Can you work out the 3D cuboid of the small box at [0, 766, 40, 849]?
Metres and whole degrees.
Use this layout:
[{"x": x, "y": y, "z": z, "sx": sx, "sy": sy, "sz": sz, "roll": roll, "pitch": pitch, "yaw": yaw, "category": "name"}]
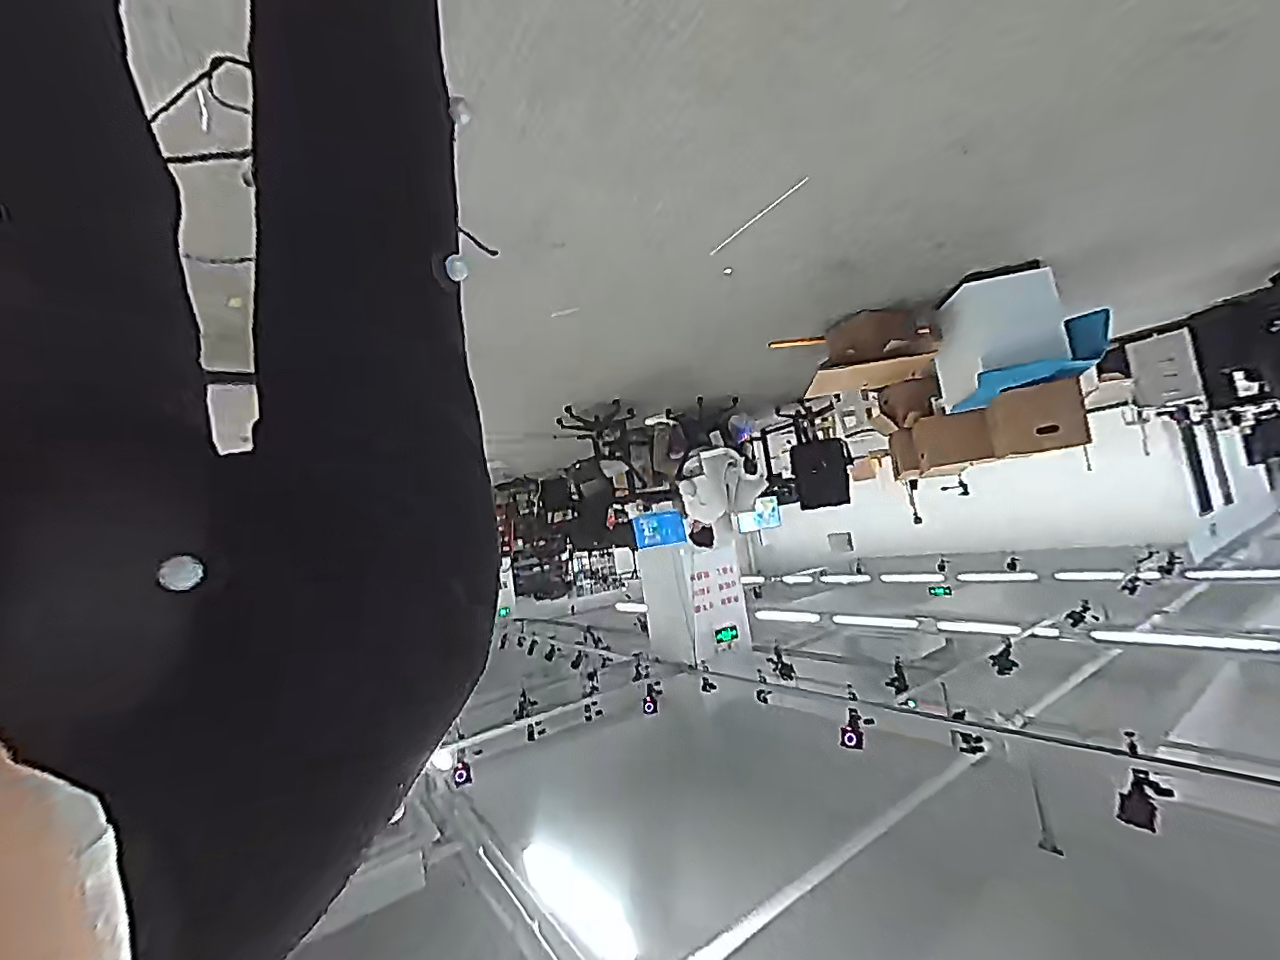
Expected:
[{"x": -1.826, "y": 0.931, "z": 1.514, "sx": 0.168, "sy": 0.176, "sz": 0.179, "roll": -6, "pitch": 177, "yaw": -36, "category": "small box"}]
